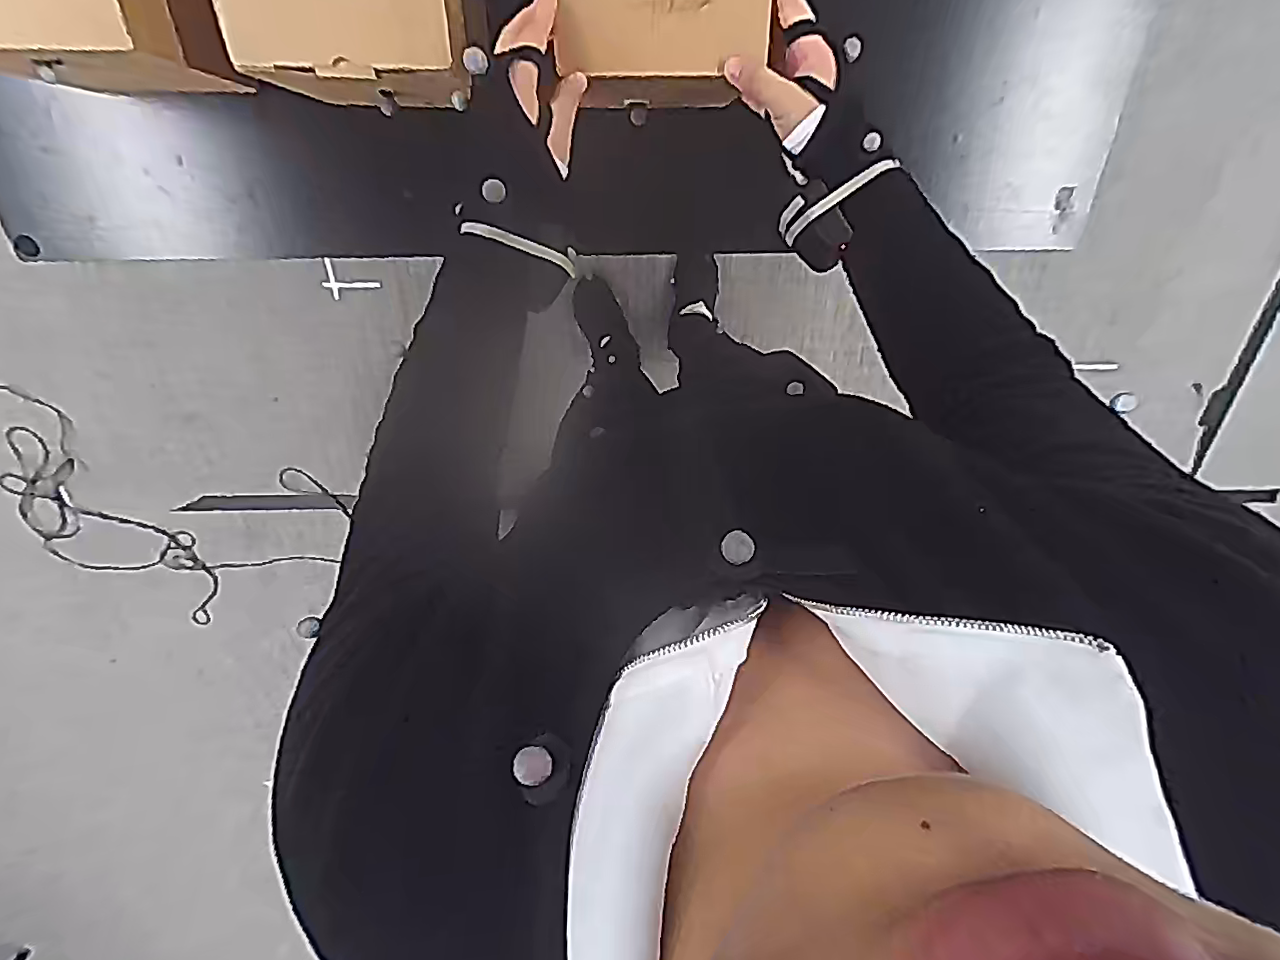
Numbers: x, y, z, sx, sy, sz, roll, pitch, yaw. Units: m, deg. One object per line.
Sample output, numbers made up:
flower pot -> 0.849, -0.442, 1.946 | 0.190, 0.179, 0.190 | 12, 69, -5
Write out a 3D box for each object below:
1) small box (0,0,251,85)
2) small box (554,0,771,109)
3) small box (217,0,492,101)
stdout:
small box -> -0.456, -0.426, 0.425 | 0.179, 0.176, 0.168 | -2, 118, -4
small box -> 0.013, -0.430, 0.455 | 0.168, 0.176, 0.179 | -2, 119, -1
small box -> -0.224, -0.425, 0.441 | 0.168, 0.176, 0.179 | 0, 118, -3
